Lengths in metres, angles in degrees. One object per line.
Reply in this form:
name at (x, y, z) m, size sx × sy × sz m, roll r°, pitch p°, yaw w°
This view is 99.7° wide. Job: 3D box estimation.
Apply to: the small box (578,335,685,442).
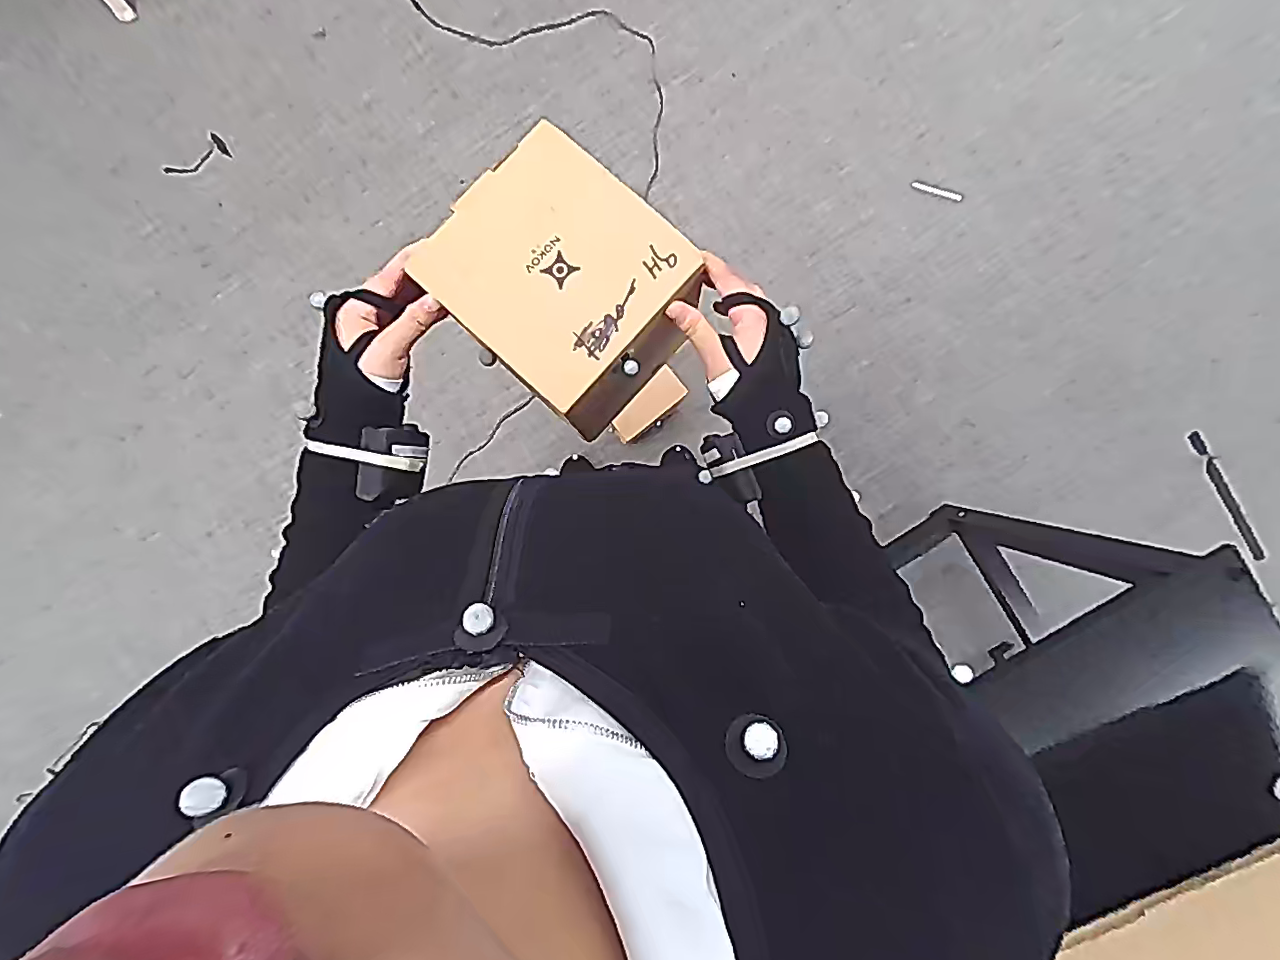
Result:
small box at (-0.017, -0.199, 1.242) m, size 0.179 × 0.176 × 0.168 m, roll -39°, pitch 93°, yaw 2°
